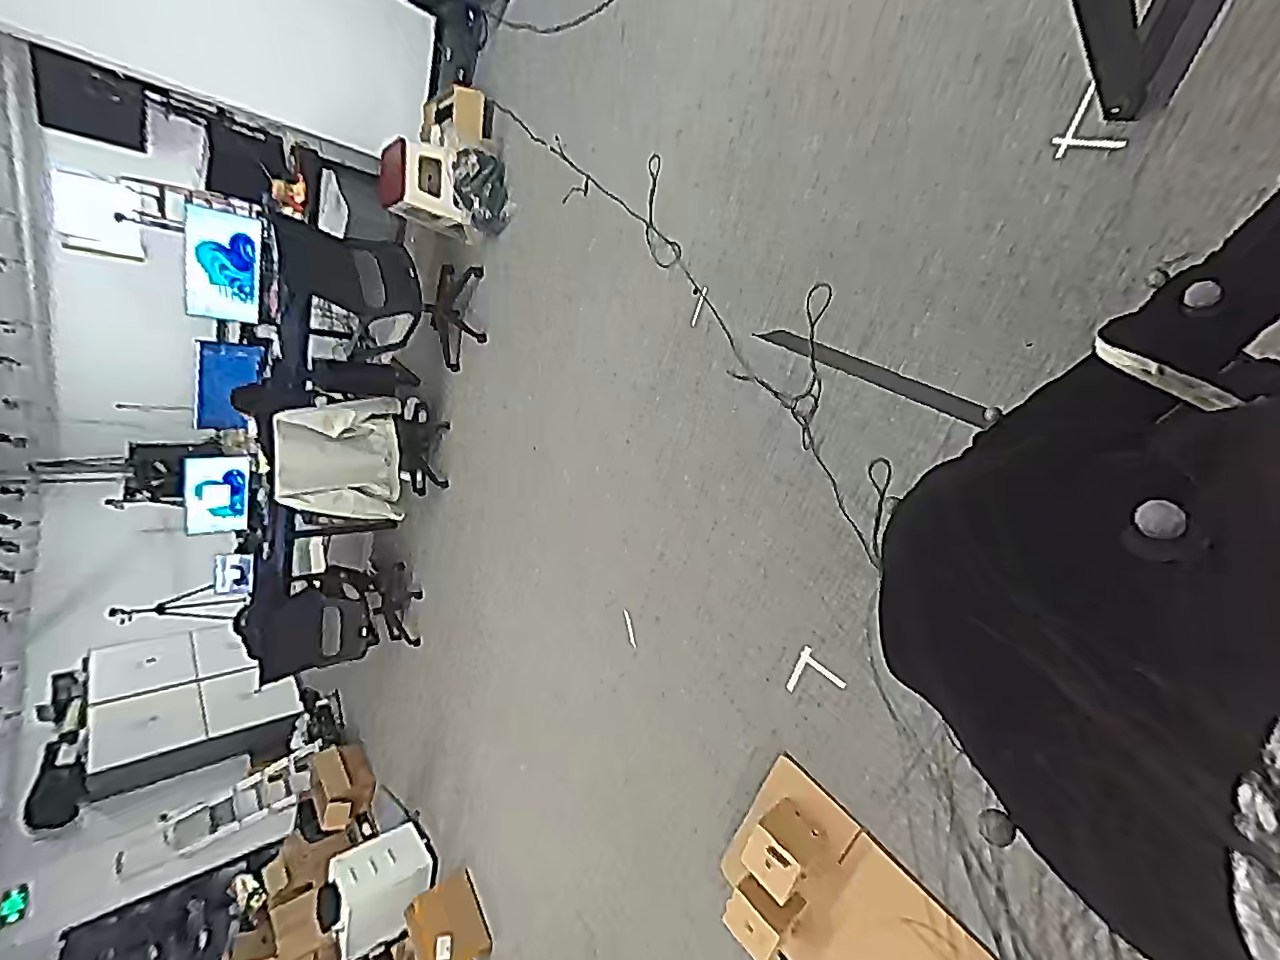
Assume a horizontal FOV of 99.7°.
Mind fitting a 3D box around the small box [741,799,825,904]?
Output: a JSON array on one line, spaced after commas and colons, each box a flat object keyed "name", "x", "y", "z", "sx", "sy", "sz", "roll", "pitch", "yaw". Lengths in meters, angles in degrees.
[{"name": "small box", "x": 0.448, "y": 1.141, "z": 1.676, "sx": 0.168, "sy": 0.176, "sz": 0.179, "roll": 32, "pitch": 115, "yaw": 40}]

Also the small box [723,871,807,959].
[{"name": "small box", "x": 0.403, "y": 1.388, "z": 1.744, "sx": 0.179, "sy": 0.176, "sz": 0.168, "roll": 29, "pitch": 114, "yaw": 40}]
